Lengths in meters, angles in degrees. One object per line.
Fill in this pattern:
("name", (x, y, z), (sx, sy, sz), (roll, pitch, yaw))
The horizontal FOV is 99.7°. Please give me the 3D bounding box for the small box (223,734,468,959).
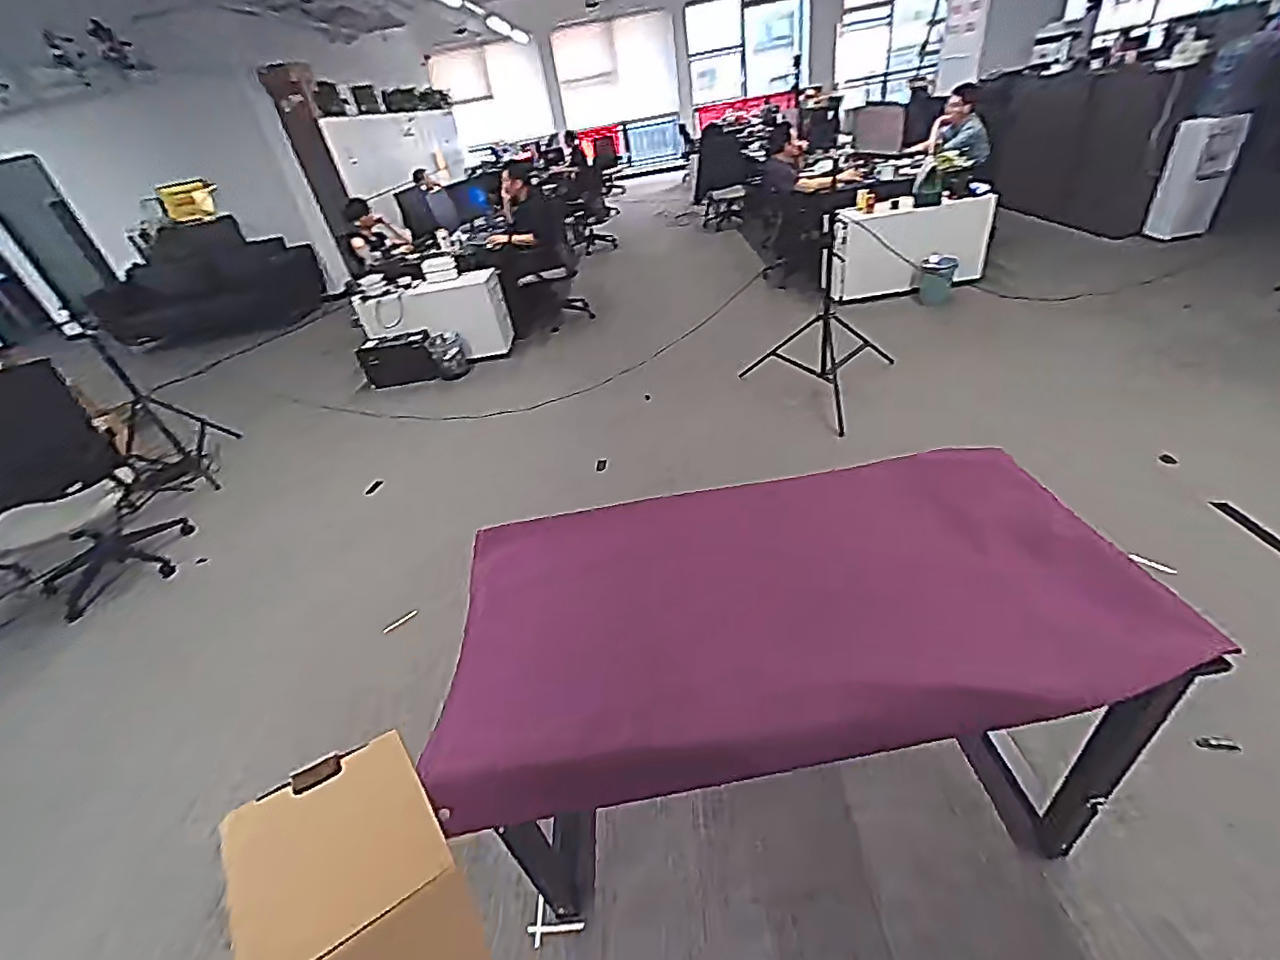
("small box", (-0.284, 0.406, 0.537), (0.168, 0.176, 0.179), (-18, 35, -33))
